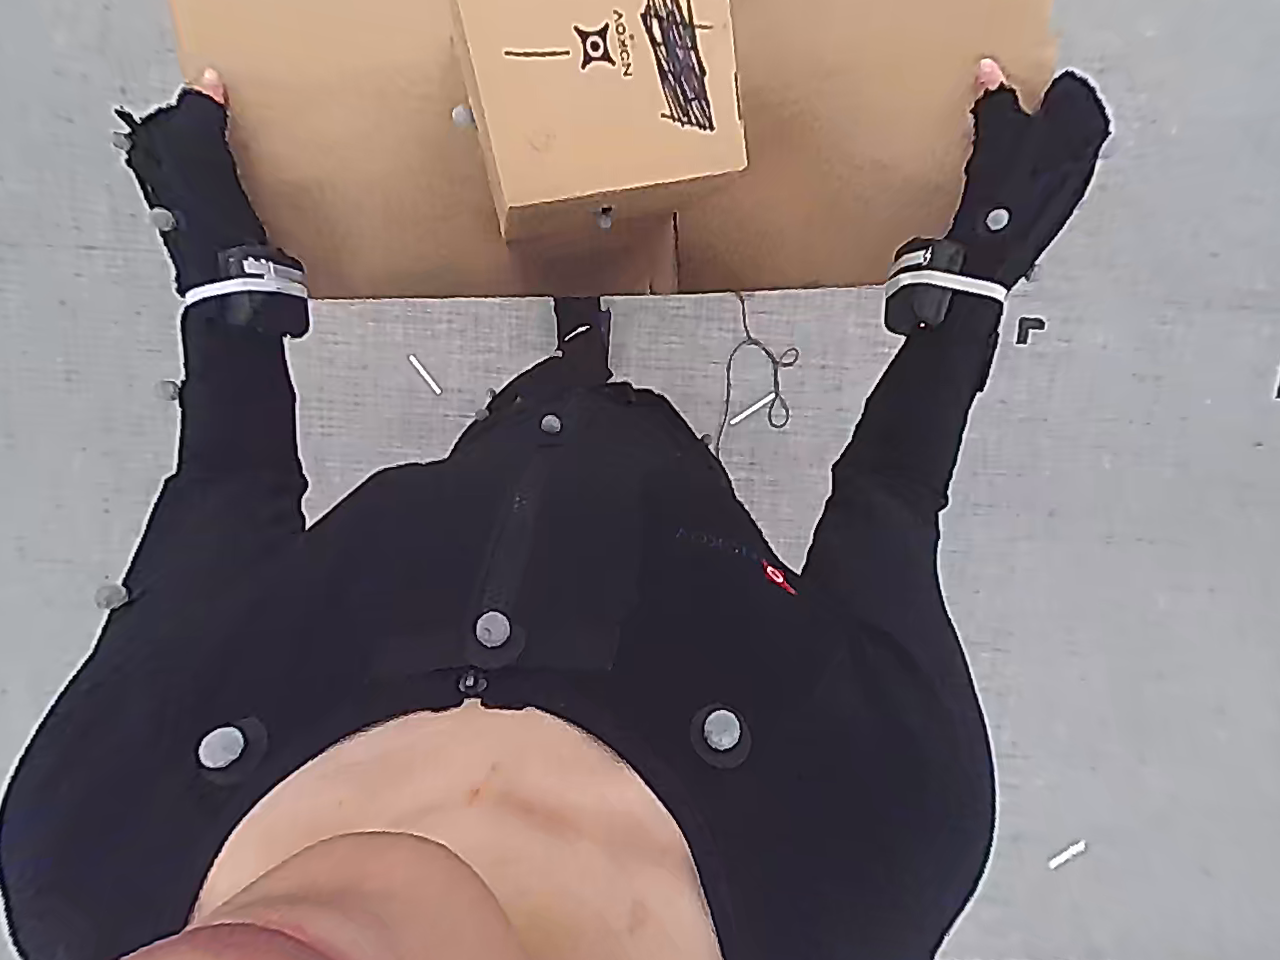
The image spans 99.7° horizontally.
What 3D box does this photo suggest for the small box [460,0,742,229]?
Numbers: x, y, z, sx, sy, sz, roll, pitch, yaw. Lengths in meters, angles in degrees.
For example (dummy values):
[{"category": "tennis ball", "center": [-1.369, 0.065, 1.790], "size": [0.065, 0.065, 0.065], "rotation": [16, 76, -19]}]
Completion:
[{"category": "small box", "center": [-0.039, -0.310, 0.430], "size": [0.179, 0.176, 0.168], "rotation": [-14, 109, -9]}]
